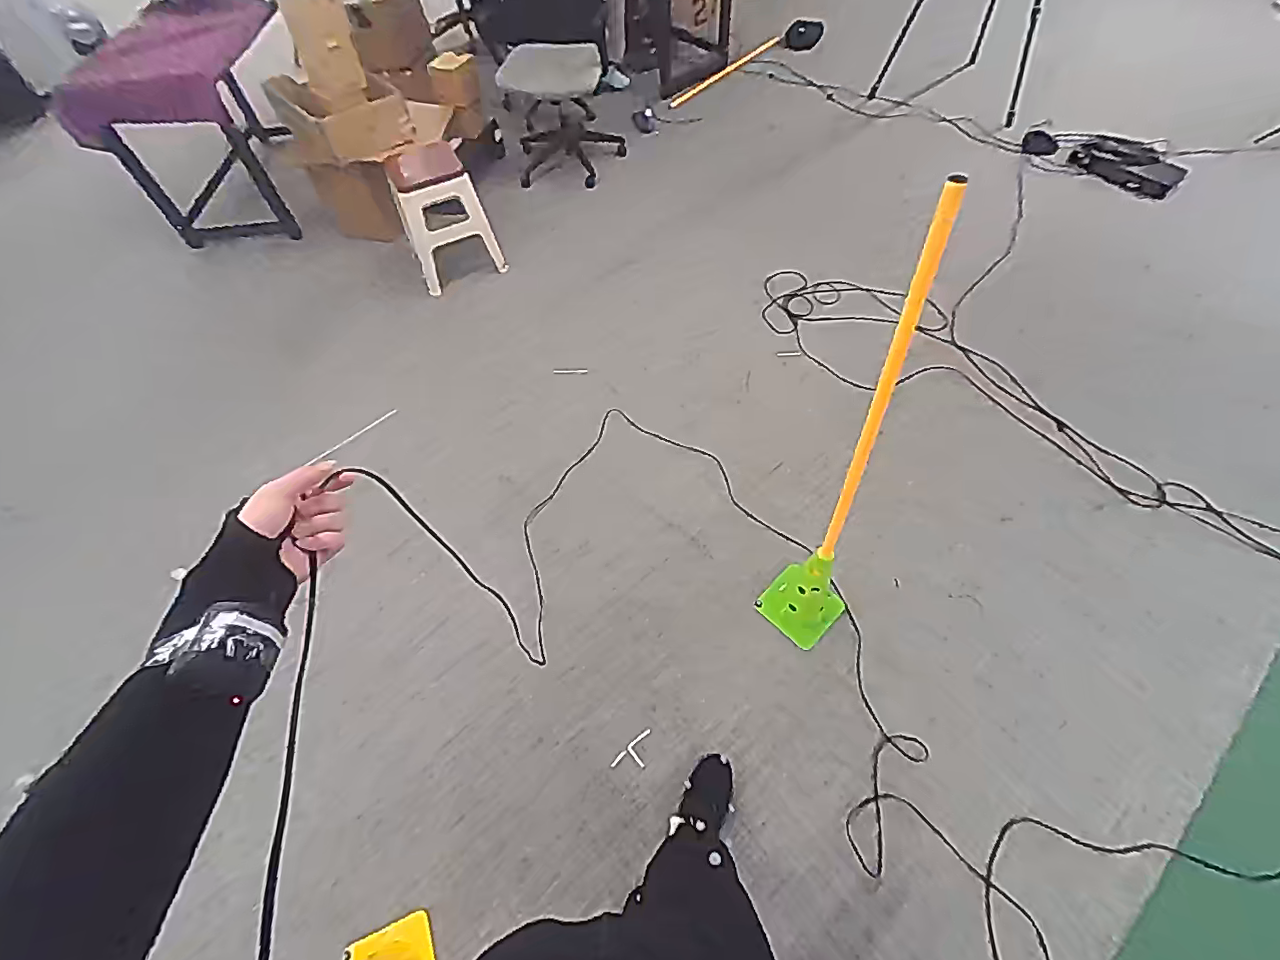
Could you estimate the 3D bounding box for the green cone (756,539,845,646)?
[{"bbox_3d":[0.465,0.264,1.447,0.202,0.368,0.200,-40,63,-22],"label":"green cone"}]
